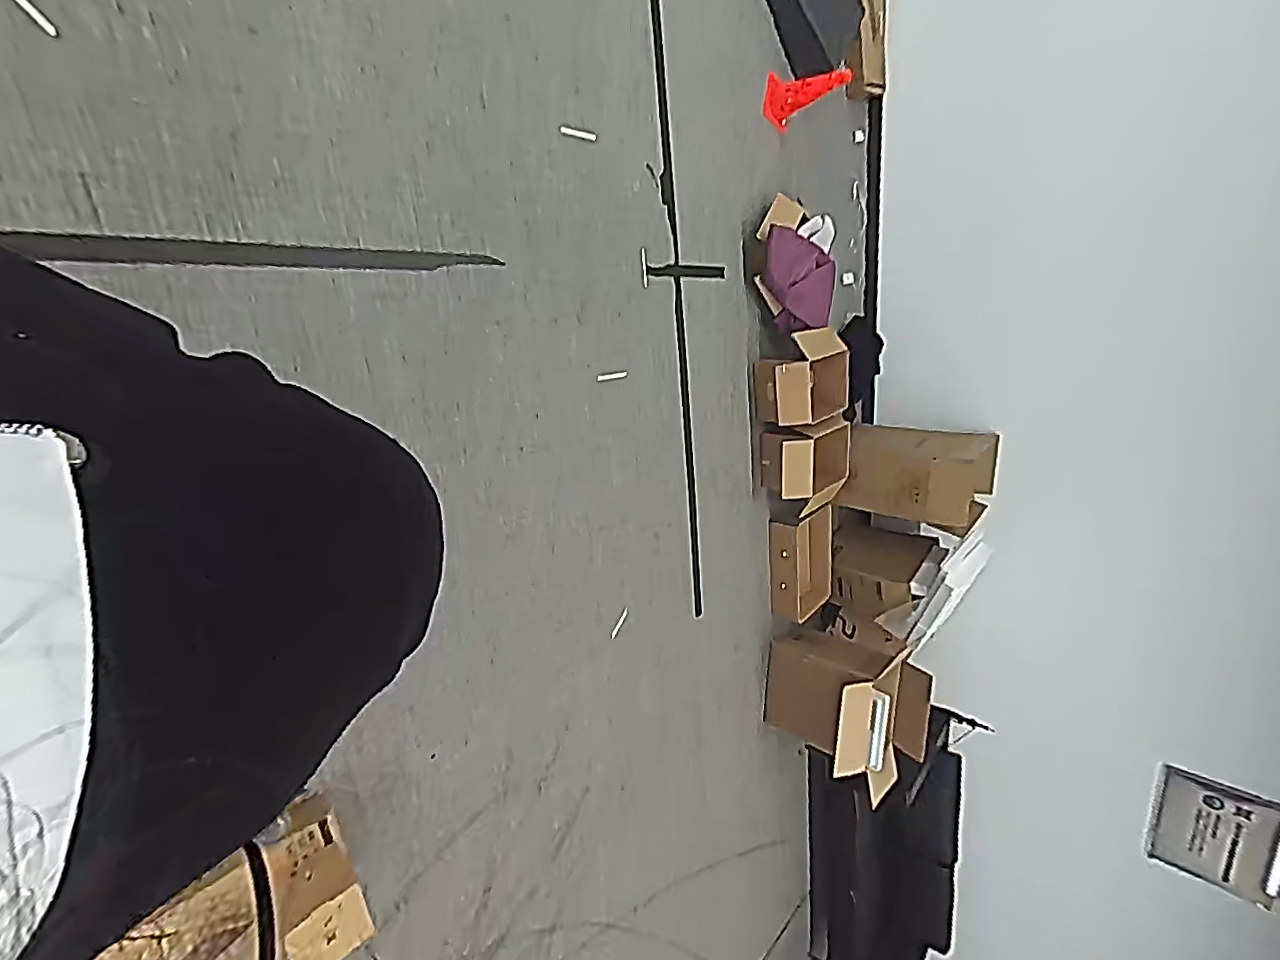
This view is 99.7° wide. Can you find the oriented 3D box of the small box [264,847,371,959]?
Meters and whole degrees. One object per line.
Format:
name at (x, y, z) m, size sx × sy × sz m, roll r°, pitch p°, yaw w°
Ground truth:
small box at (-0.785, 1.056, 1.317) m, size 0.168 × 0.176 × 0.179 m, roll -21°, pitch 113°, yaw -42°
